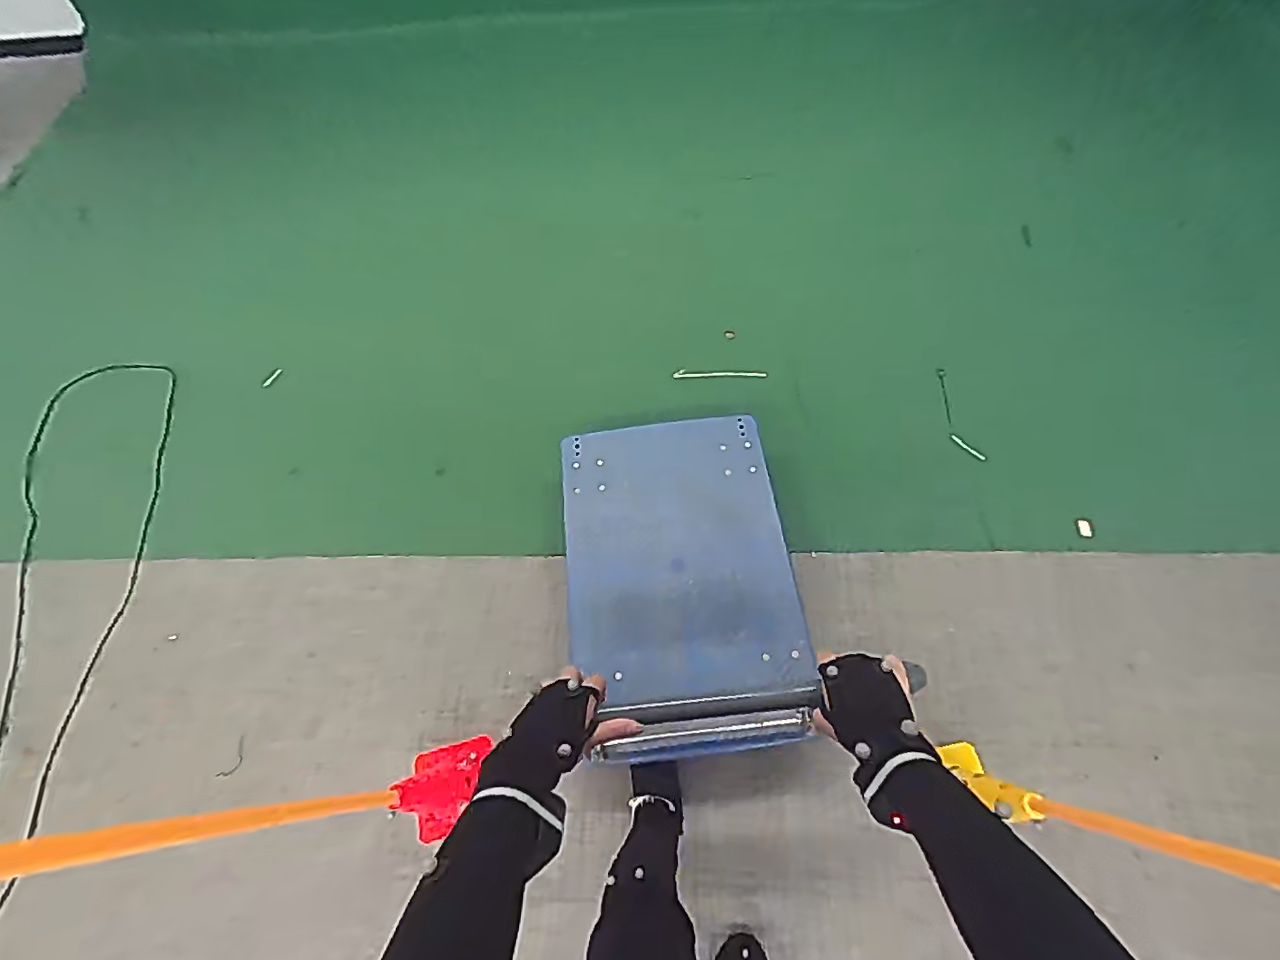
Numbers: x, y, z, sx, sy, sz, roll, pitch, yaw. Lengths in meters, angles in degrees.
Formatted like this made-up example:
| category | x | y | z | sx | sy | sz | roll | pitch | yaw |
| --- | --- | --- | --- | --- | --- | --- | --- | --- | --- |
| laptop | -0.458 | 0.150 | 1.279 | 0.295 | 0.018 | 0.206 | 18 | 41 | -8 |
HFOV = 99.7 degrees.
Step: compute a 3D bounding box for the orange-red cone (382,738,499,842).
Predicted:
| category | x | y | z | sx | sy | sz | roll | pitch | yaw |
| --- | --- | --- | --- | --- | --- | --- | --- | --- | --- |
| orange-red cone | -0.461 | 0.680 | 1.175 | 0.199 | 0.360 | 0.198 | -14 | 63 | -3 |
